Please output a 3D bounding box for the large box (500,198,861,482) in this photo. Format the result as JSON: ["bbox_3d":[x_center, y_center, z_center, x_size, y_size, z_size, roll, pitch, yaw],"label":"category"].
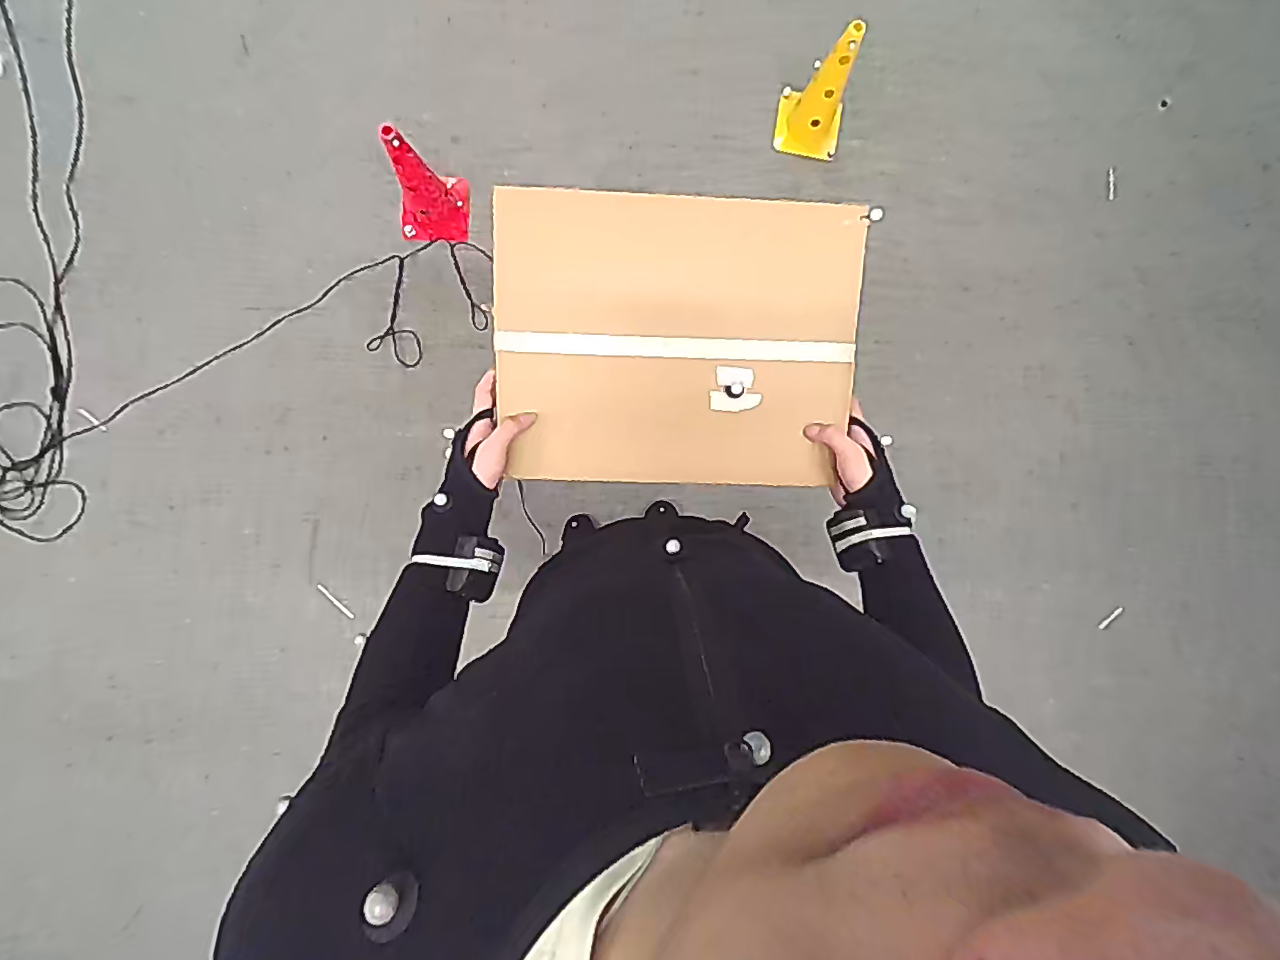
[{"bbox_3d":[0.036,-0.177,0.761,0.408,0.320,0.320,1,102,-4],"label":"large box"}]
